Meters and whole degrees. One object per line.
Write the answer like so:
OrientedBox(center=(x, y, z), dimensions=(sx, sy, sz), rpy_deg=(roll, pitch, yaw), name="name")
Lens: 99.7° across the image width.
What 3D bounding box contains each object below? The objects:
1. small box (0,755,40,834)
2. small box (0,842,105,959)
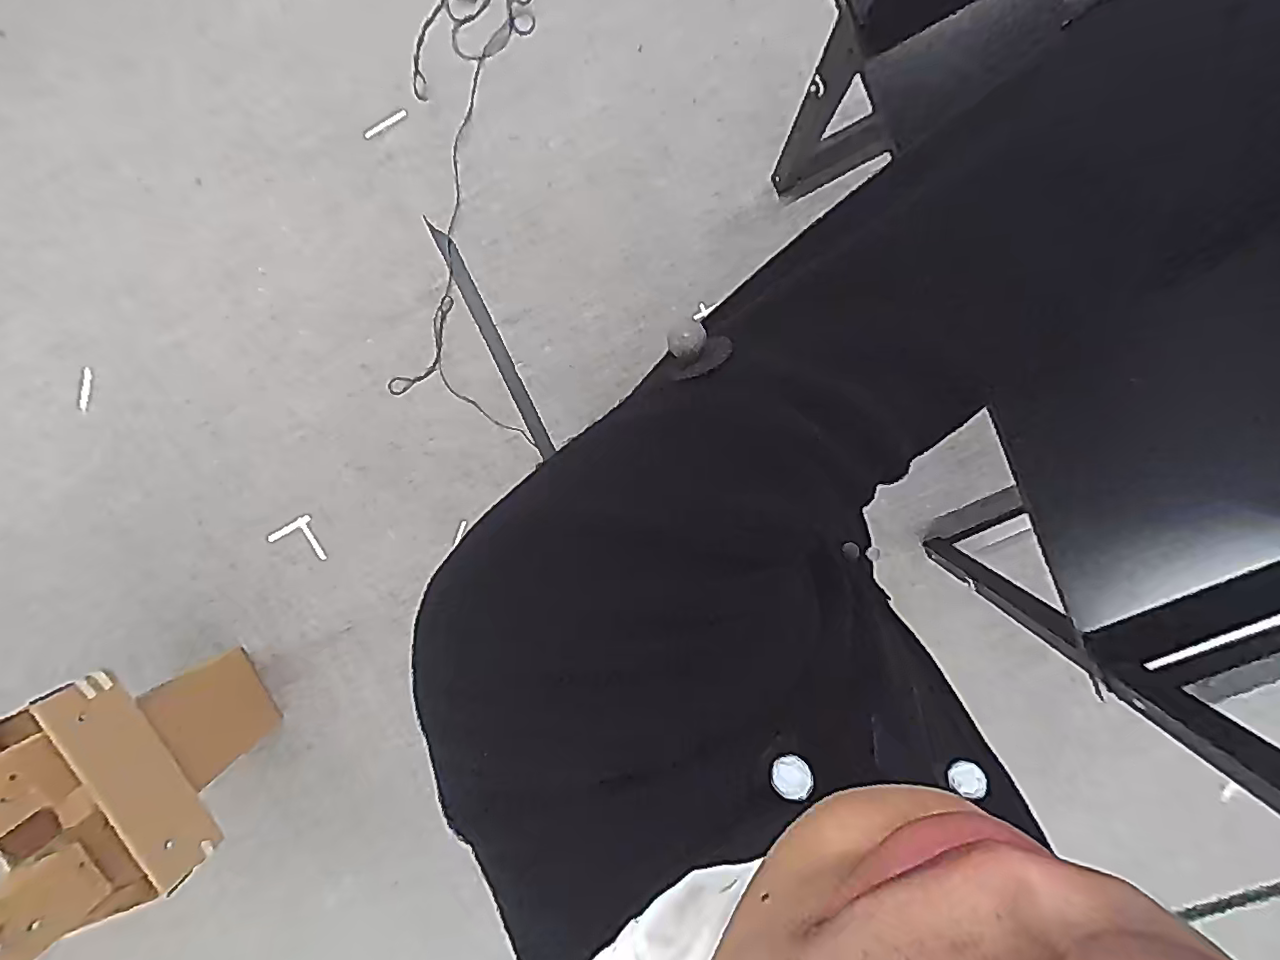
OrientedBox(center=(-1.584, 0.782, 1.253), dimensions=(0.179, 0.176, 0.168), rpy_deg=(-28, 98, 9), name="small box")
OrientedBox(center=(-1.461, 1.017, 1.291), dimensions=(0.179, 0.176, 0.168), rpy_deg=(-24, 98, 10), name="small box")
